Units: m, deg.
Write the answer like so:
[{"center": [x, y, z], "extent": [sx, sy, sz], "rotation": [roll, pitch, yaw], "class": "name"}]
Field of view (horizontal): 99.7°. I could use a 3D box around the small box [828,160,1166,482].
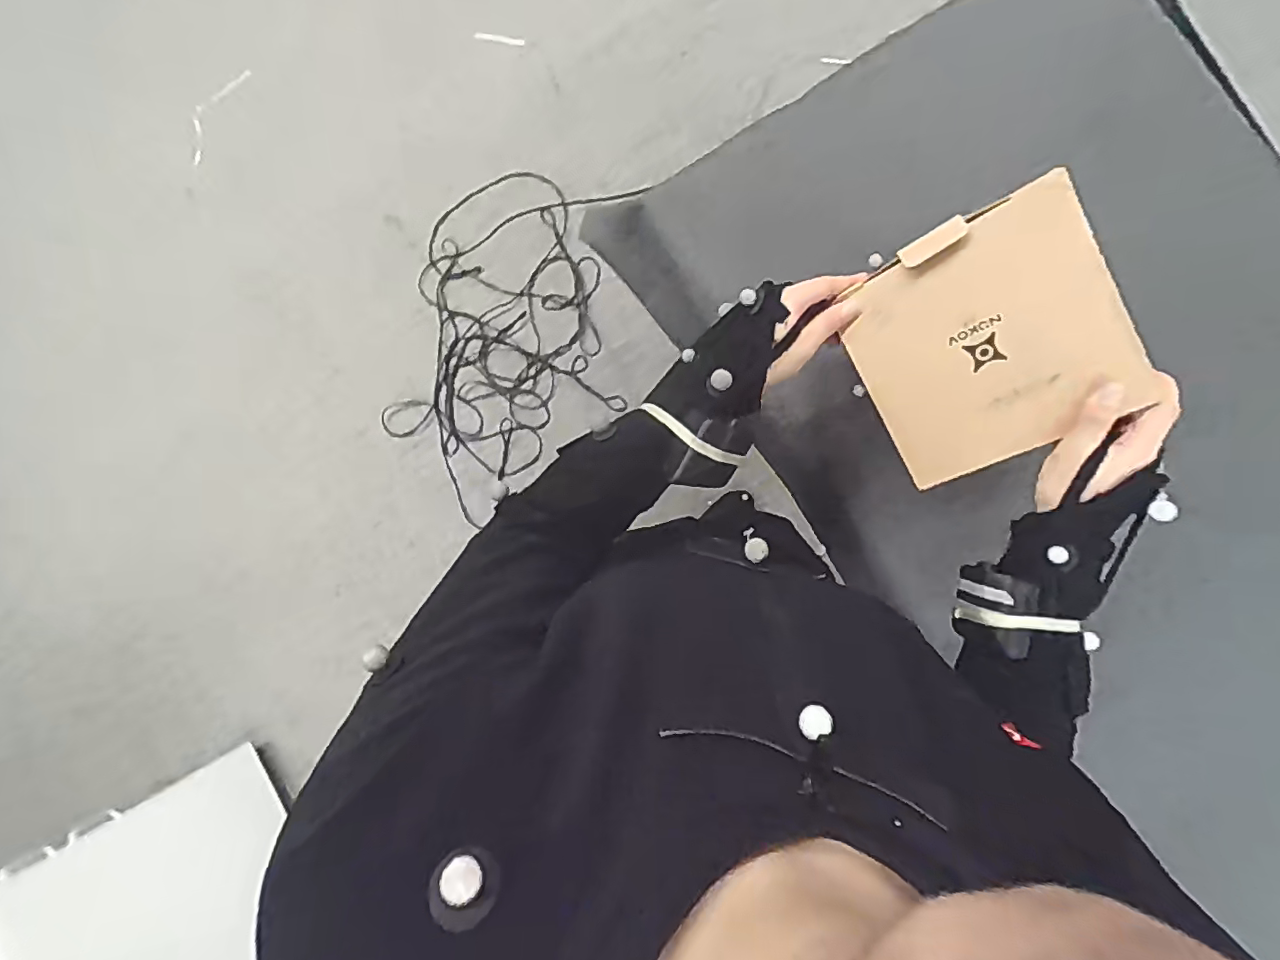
[{"center": [0.280, -0.128, 0.463], "extent": [0.168, 0.176, 0.179], "rotation": [-27, 98, 30], "class": "small box"}]
